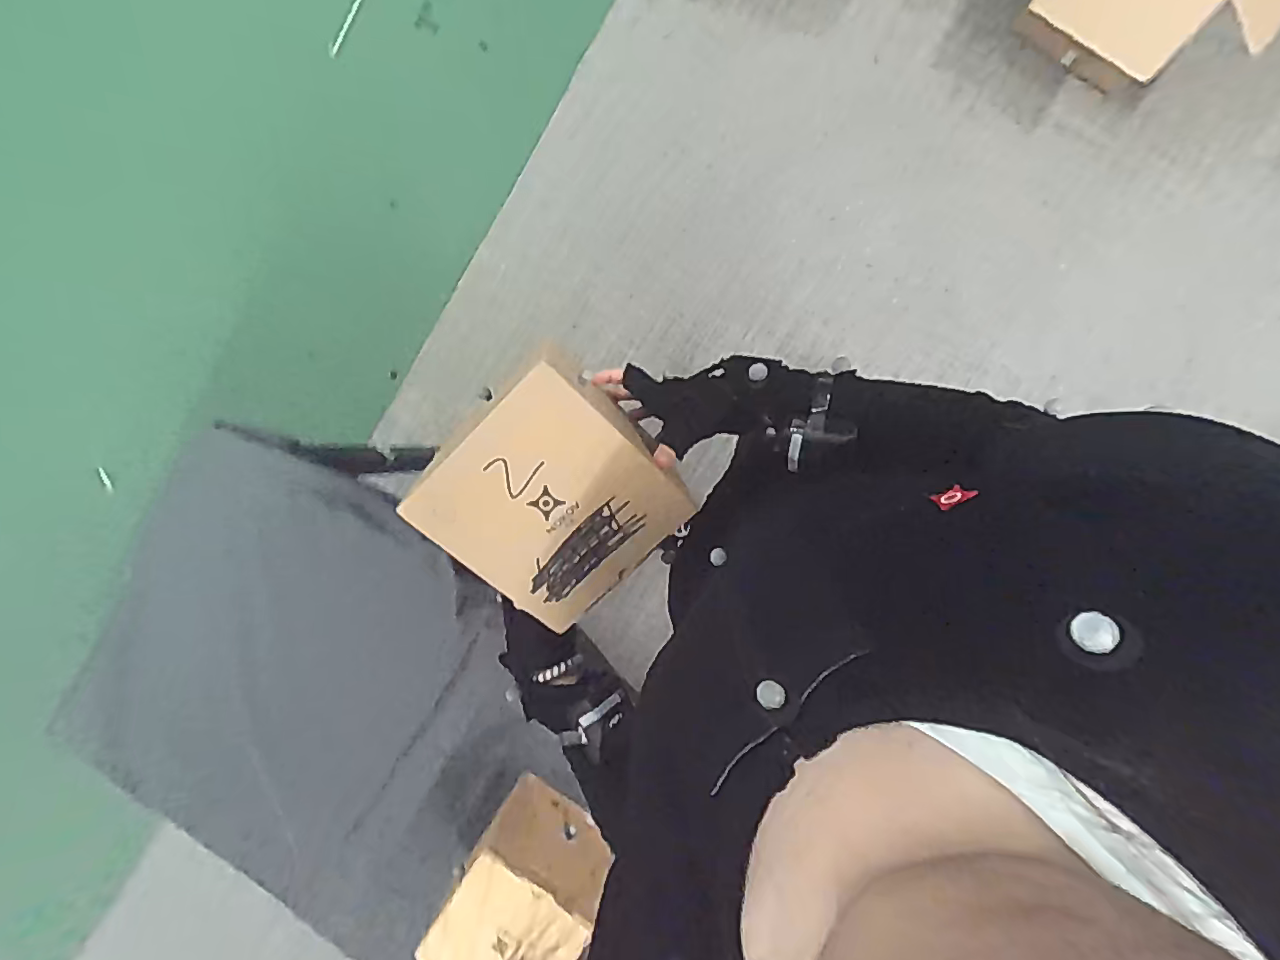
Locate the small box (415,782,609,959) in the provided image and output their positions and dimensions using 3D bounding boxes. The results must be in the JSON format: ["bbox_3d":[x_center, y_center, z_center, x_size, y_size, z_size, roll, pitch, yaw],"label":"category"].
[{"bbox_3d":[-0.159,0.566,0.736,0.168,0.176,0.179,33,95,4],"label":"small box"}]
